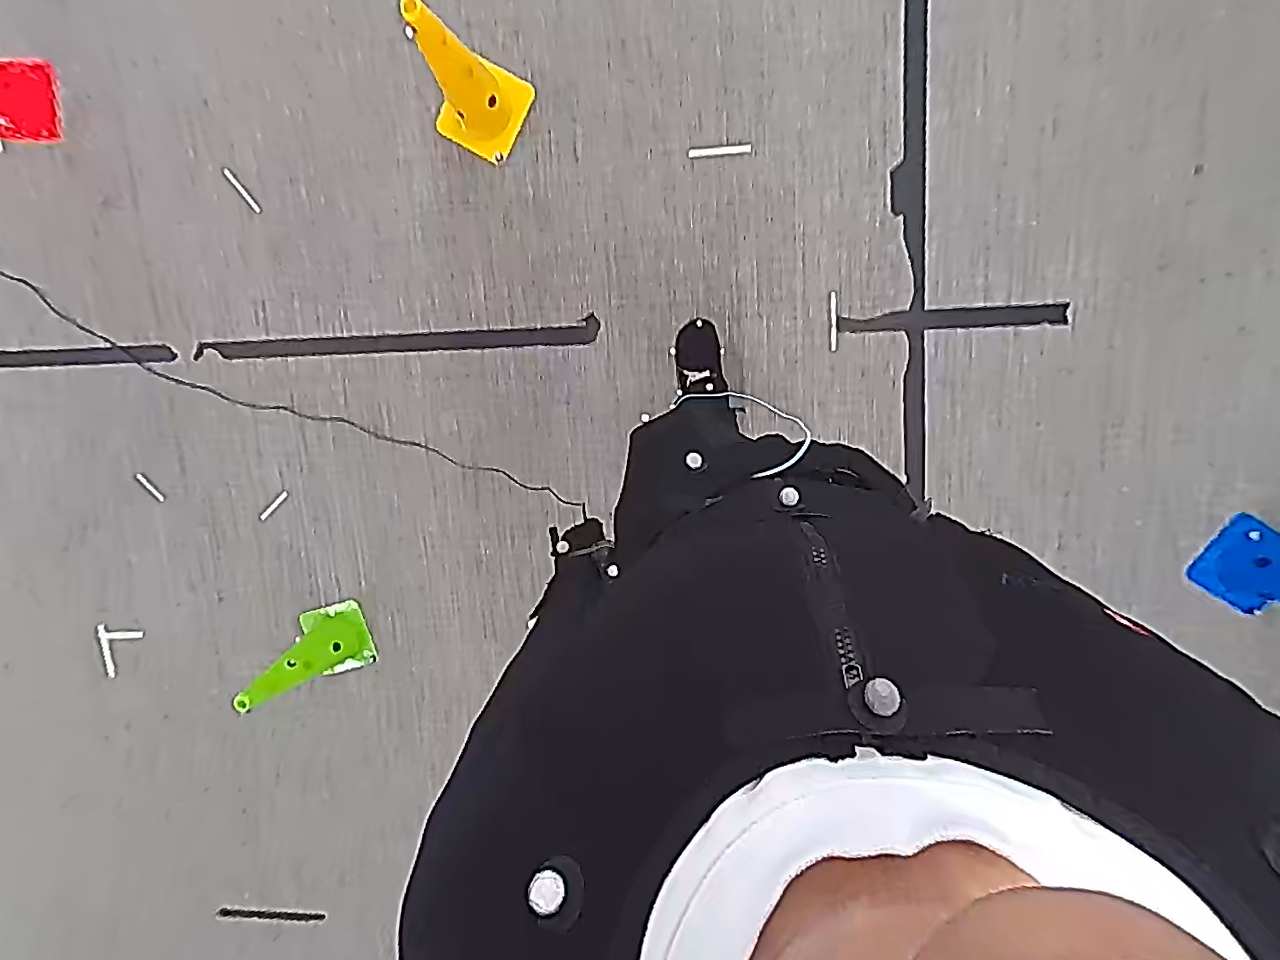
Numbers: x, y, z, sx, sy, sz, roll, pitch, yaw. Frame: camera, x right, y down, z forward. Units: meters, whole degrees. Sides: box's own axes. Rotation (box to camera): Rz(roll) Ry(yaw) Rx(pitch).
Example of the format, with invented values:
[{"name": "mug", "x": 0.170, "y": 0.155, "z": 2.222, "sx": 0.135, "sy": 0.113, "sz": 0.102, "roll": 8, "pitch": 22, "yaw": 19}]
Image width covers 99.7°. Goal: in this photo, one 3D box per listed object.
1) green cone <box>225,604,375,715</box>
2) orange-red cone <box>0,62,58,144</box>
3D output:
[{"name": "green cone", "x": -0.921, "y": 0.500, "z": 1.433, "sx": 0.202, "sy": 0.368, "sz": 0.200, "roll": -17, "pitch": 95, "yaw": 10}, {"name": "orange-red cone", "x": -1.690, "y": -0.998, "z": 1.300, "sx": 0.199, "sy": 0.360, "sz": 0.198, "roll": 6, "pitch": 99, "yaw": 4}]
